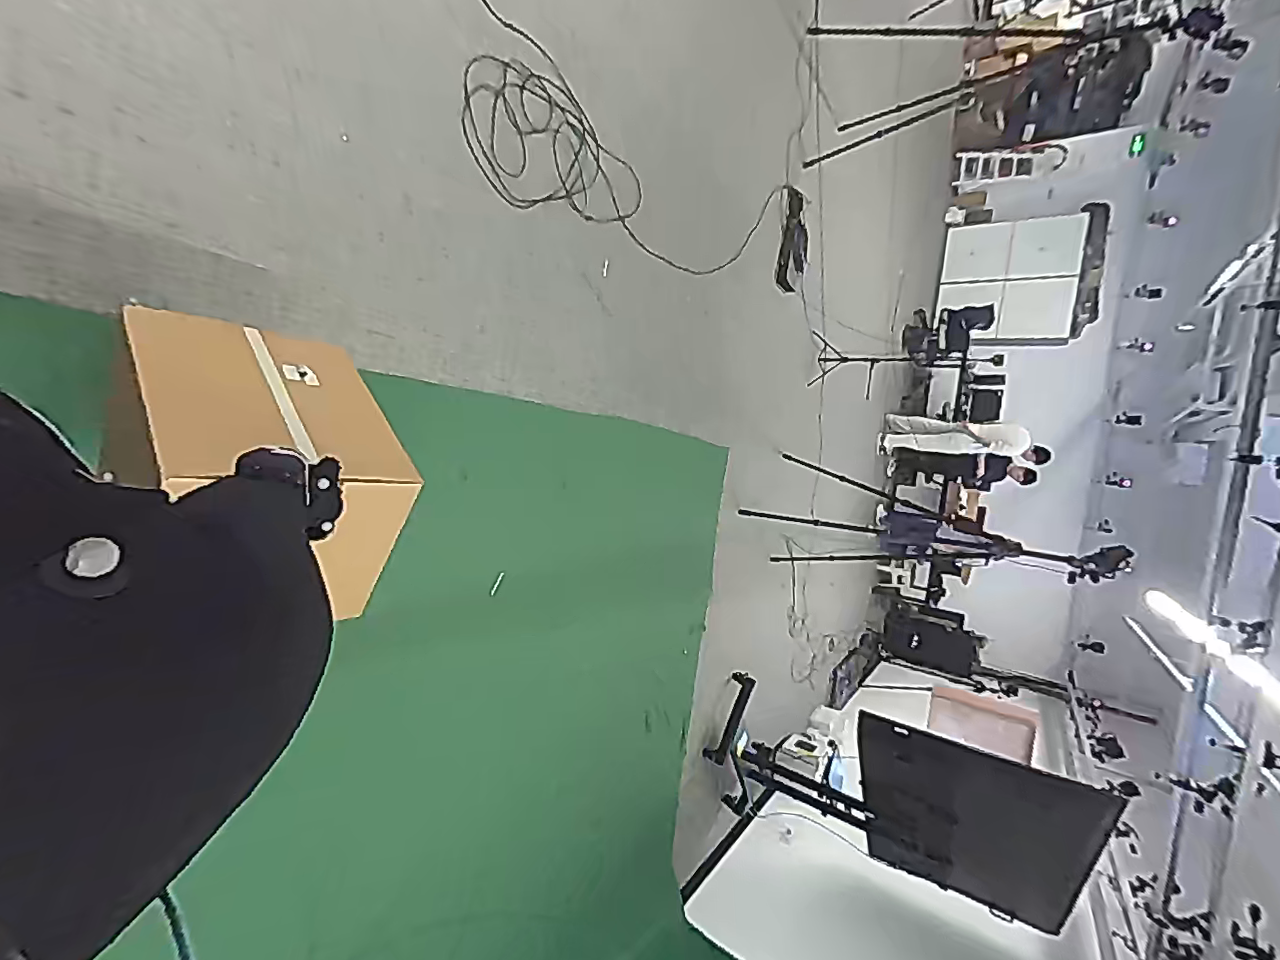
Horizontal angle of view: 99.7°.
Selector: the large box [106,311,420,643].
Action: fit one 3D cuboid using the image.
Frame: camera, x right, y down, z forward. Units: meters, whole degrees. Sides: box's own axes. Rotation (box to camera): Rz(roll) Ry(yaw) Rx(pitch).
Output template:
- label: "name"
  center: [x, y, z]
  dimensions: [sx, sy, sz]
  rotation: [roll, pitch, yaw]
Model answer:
- label: "large box"
  center: [-0.630, -0.011, 0.888]
  dimensions: [0.320, 0.408, 0.320]
  rotation: [3, 127, -52]
